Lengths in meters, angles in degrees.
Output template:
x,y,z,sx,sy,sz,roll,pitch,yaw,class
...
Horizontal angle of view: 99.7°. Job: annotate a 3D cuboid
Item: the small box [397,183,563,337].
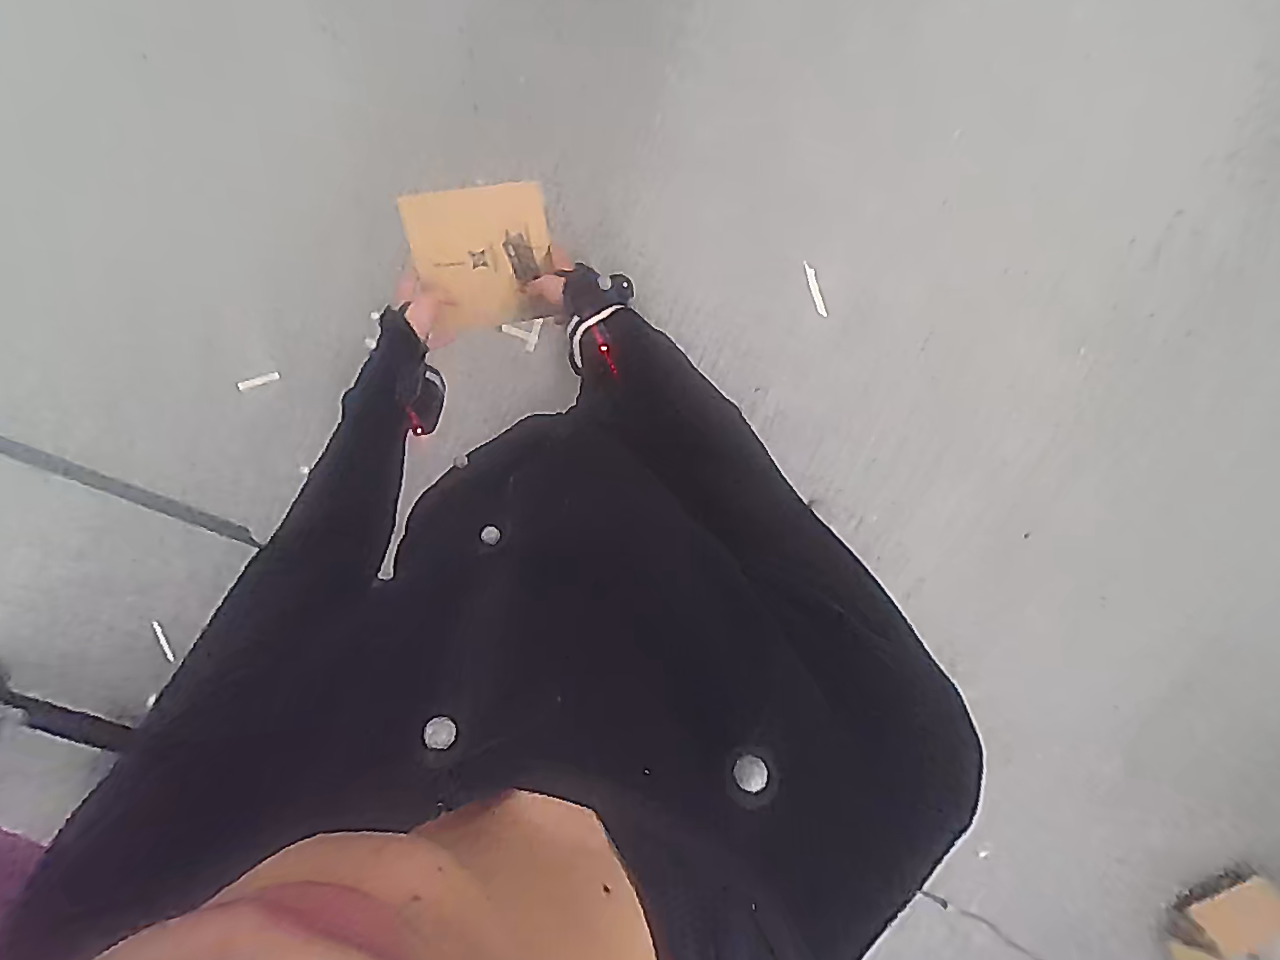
x,y,z,sx,sy,sz,roll,pitch,yaw,class
-0.215,-0.307,0.760,0.179,0.176,0.168,-12,113,-8,small box
